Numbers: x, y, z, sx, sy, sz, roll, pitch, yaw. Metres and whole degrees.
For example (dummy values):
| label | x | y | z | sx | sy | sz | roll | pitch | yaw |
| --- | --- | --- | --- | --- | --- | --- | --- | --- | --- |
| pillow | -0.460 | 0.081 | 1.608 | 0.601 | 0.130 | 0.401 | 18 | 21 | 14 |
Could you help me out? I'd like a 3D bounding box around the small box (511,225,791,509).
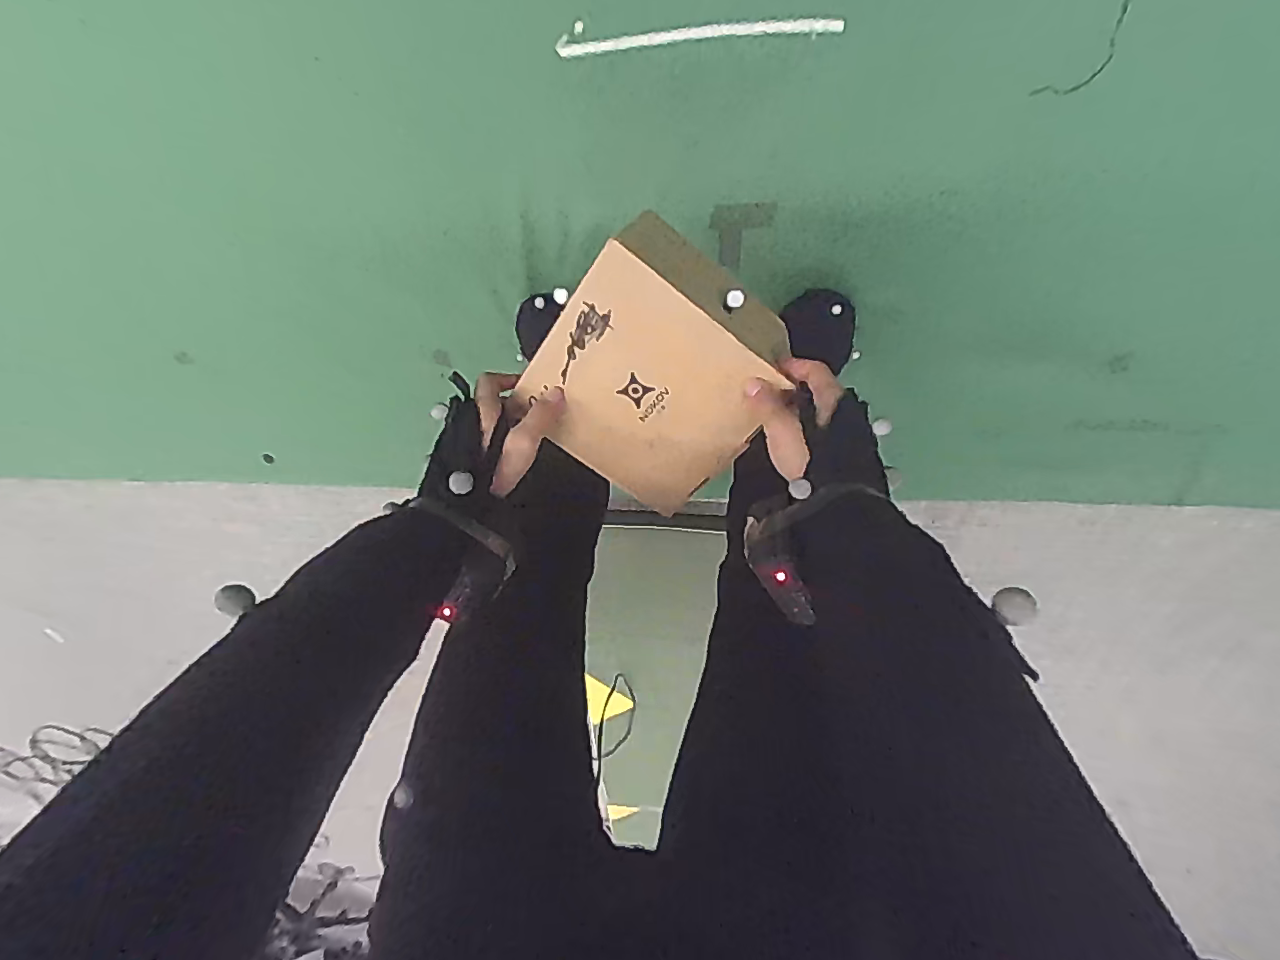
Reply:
| label | x | y | z | sx | sy | sz | roll | pitch | yaw |
| --- | --- | --- | --- | --- | --- | --- | --- | --- | --- |
| small box | 0.016 | -0.113 | 0.507 | 0.179 | 0.176 | 0.168 | 35 | 121 | -13 |
